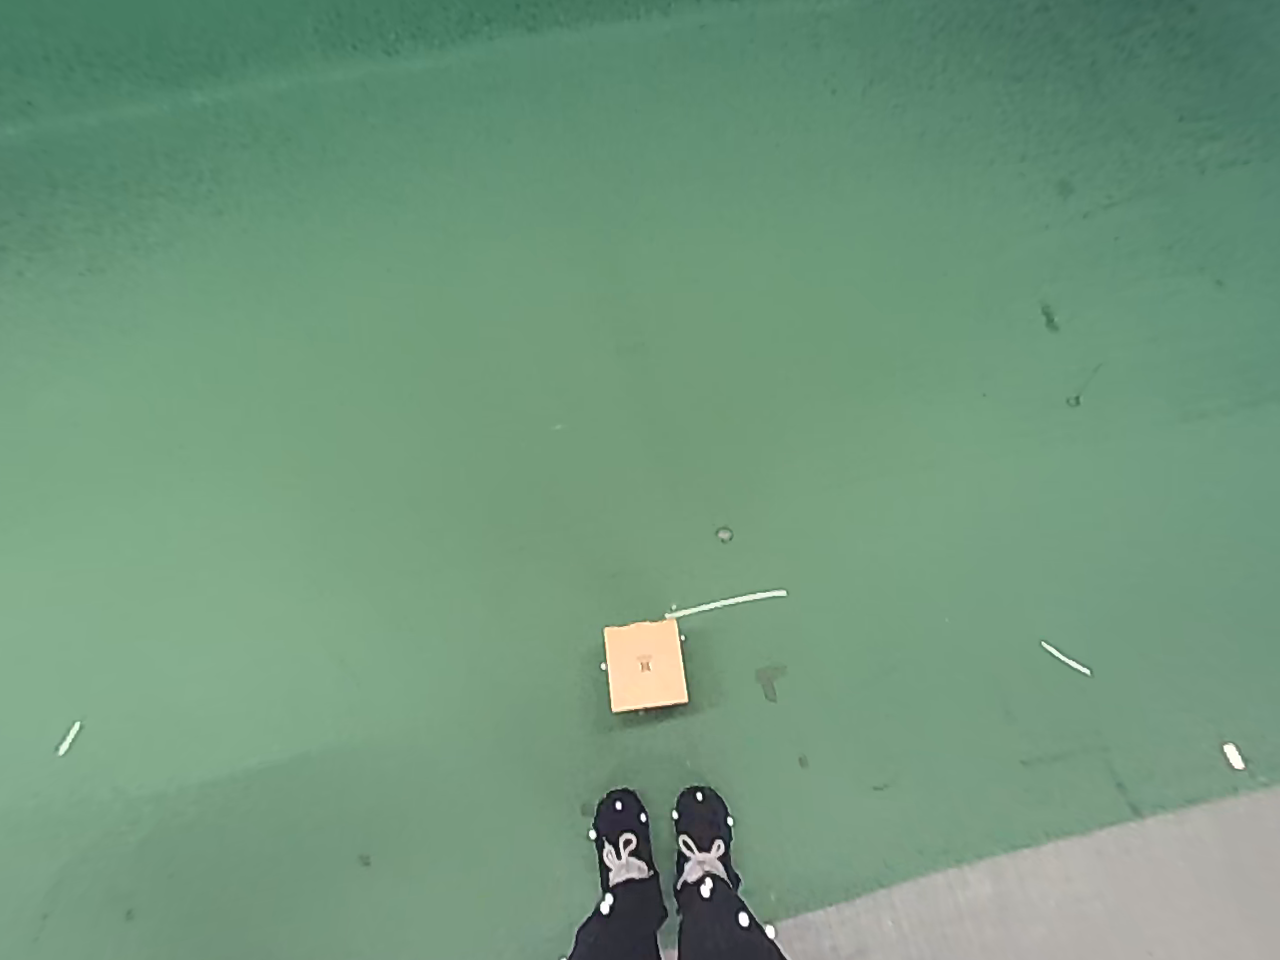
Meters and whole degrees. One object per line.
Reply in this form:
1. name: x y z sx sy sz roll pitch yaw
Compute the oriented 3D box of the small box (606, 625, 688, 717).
1. small box: 0.017 0.441 1.241 0.168 0.176 0.179 -7 66 -1
